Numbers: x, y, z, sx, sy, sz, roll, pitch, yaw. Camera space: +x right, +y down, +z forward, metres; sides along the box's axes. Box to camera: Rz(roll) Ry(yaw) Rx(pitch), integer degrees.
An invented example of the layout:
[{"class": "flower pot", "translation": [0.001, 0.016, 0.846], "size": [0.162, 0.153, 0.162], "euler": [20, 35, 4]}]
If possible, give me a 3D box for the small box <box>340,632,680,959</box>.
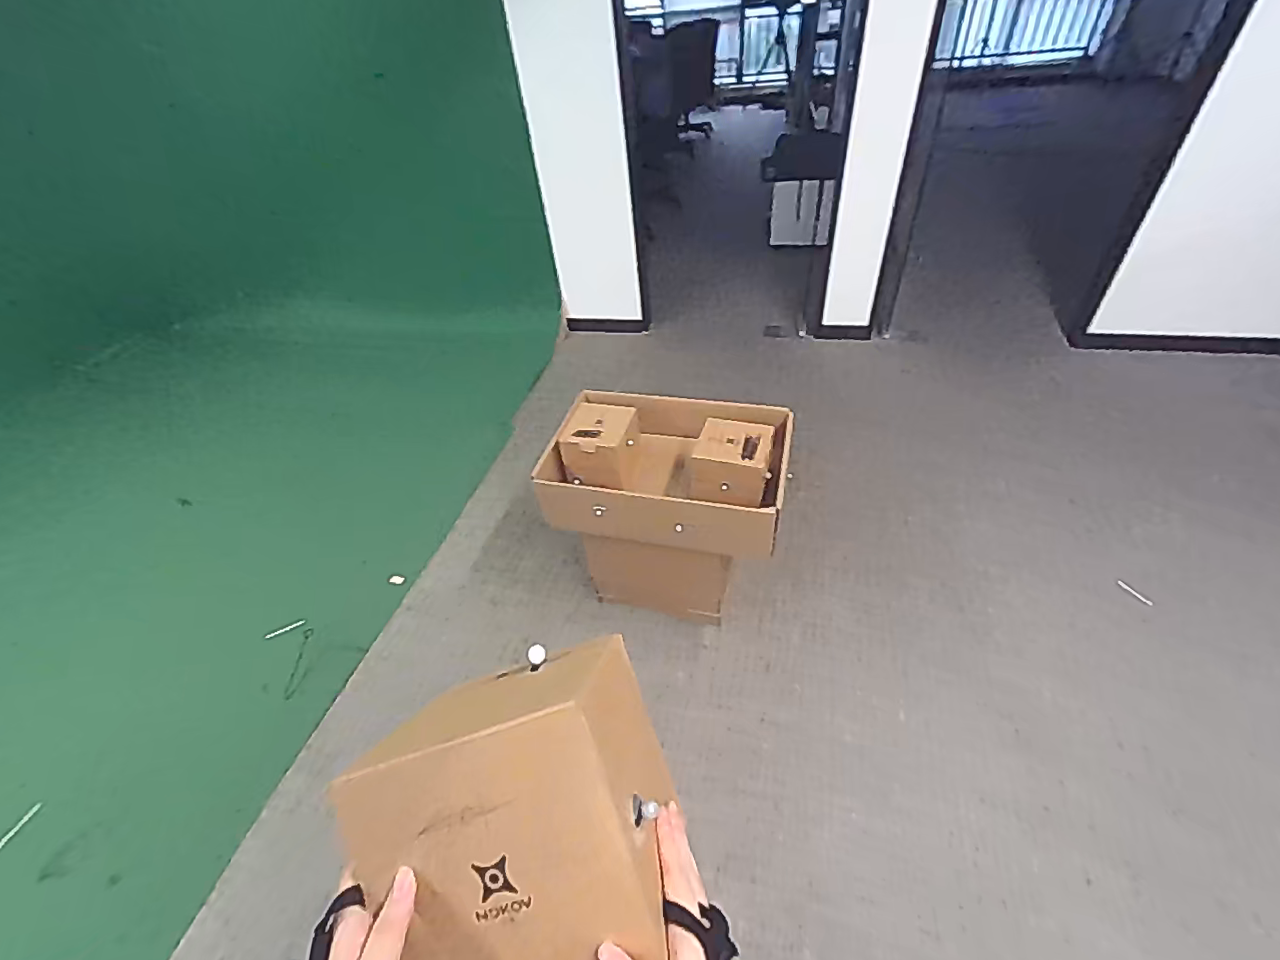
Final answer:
[{"class": "small box", "translation": [-0.074, 0.236, 0.401], "size": [0.168, 0.176, 0.179], "euler": [-19, 86, 6]}]
